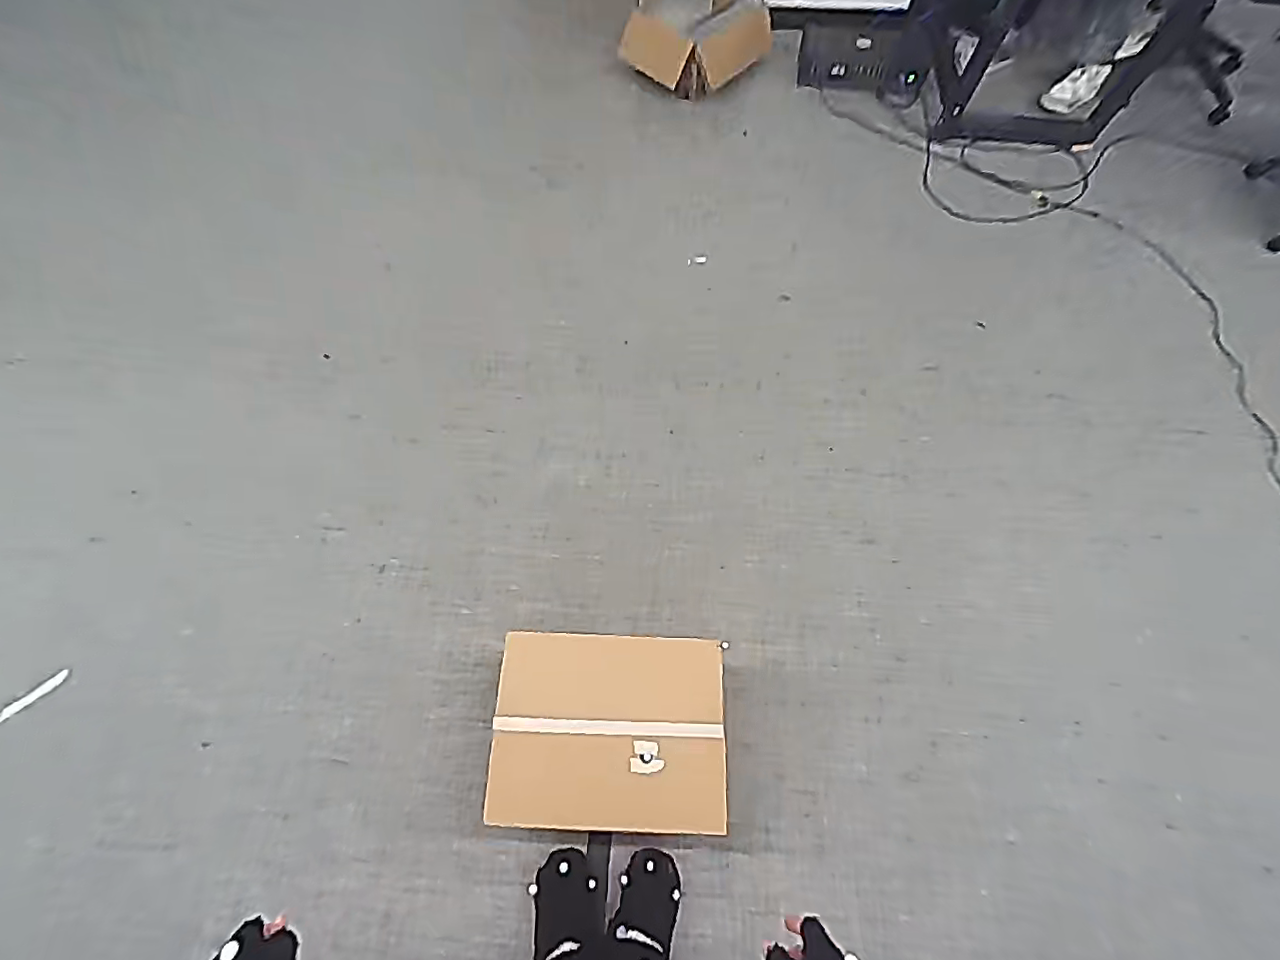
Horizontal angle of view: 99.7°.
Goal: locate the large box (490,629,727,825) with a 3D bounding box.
[{"bbox_3d":[-0.055,0.489,1.092,0.408,0.320,0.320,3,67,-1],"label":"large box"}]
